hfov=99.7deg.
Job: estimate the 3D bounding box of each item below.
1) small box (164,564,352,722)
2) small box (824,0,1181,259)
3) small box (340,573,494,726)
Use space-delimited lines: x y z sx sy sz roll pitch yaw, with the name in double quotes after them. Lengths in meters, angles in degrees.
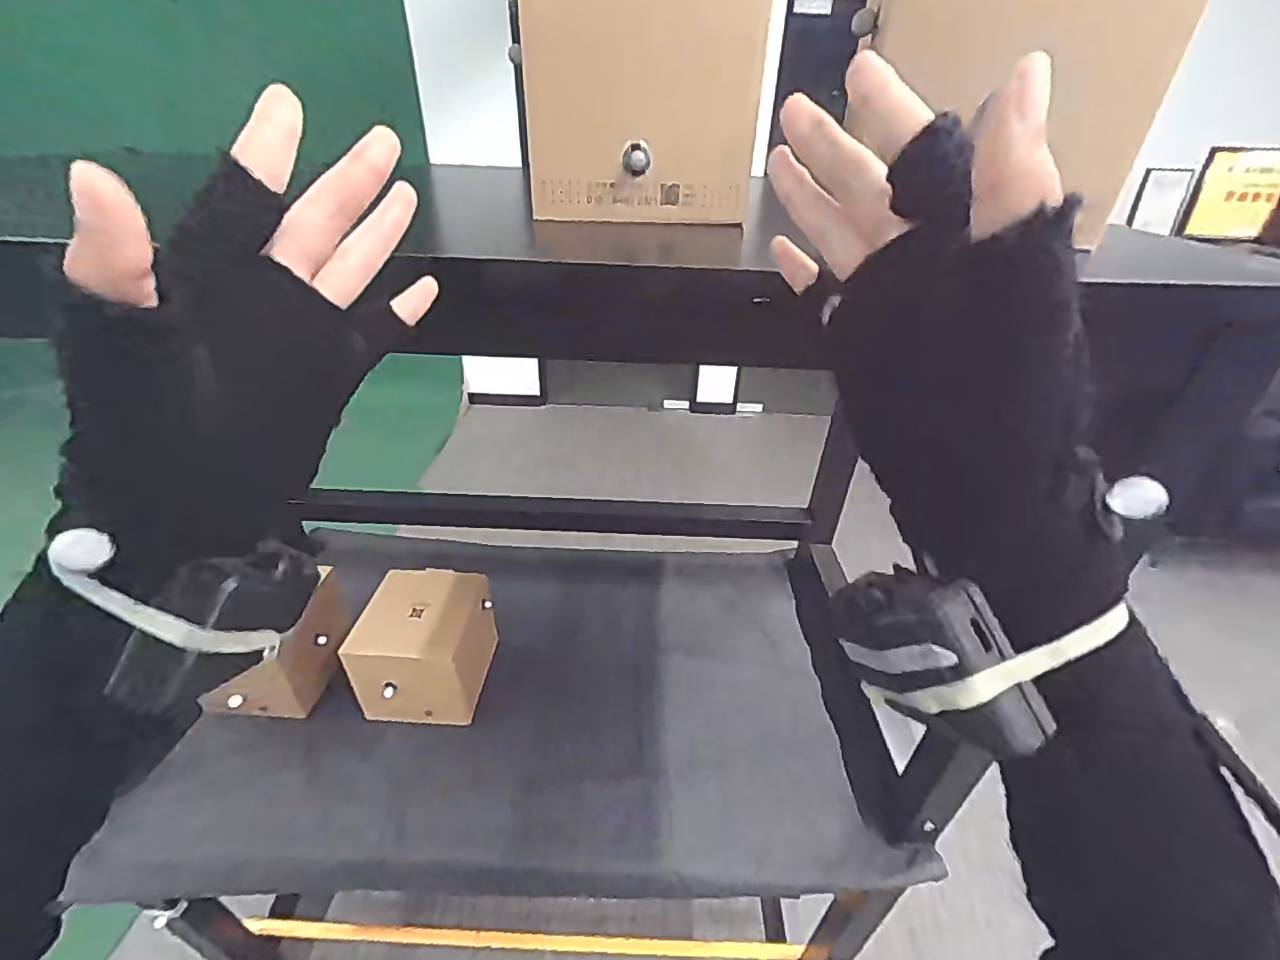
-0.597 0.261 0.878 0.168 0.176 0.179 3 34 1 "small box"
0.242 -0.273 0.408 0.168 0.176 0.179 9 34 9 "small box"
-0.344 0.275 0.878 0.168 0.176 0.179 3 33 1 "small box"
